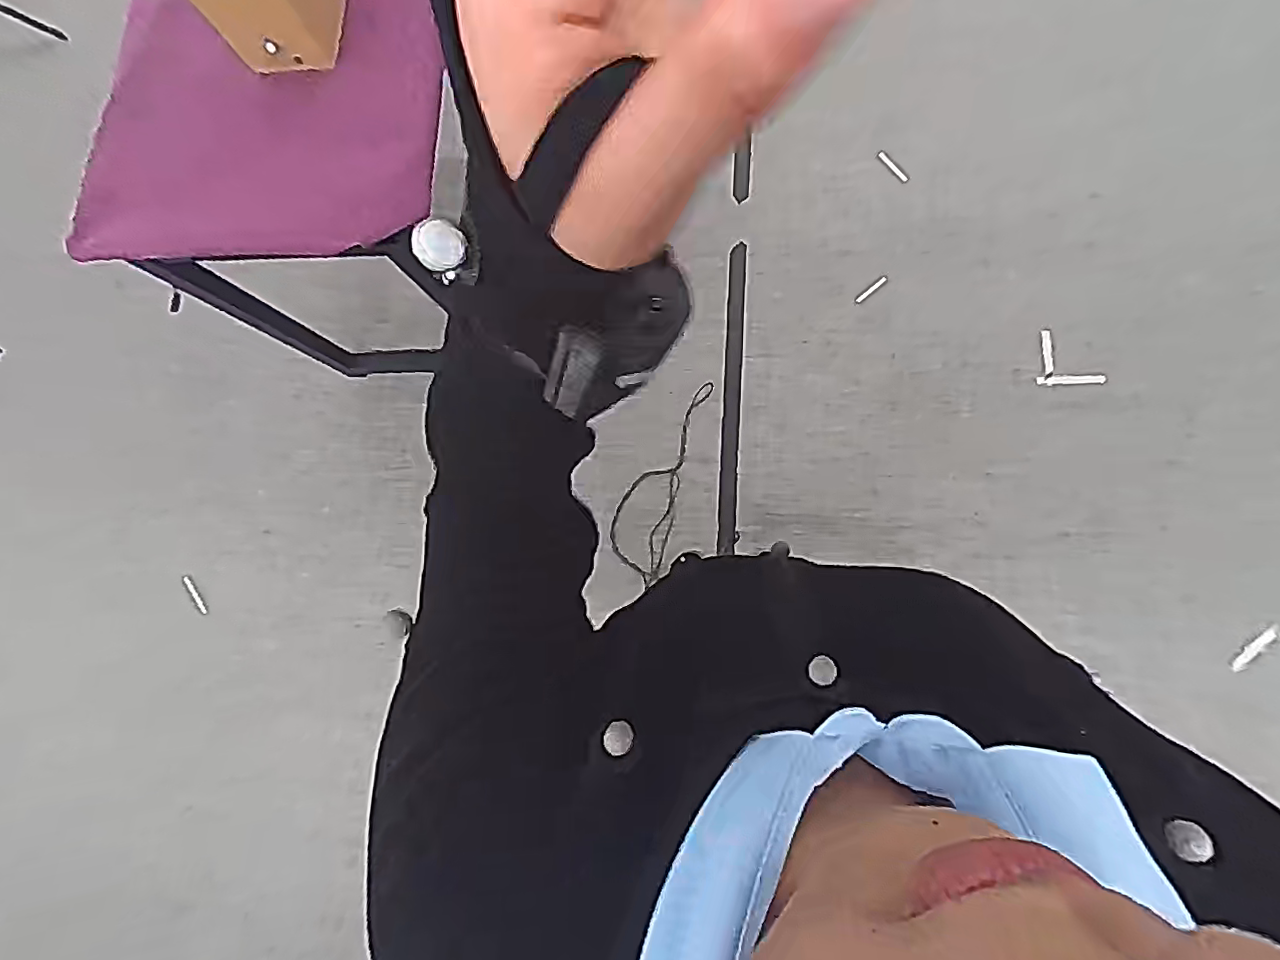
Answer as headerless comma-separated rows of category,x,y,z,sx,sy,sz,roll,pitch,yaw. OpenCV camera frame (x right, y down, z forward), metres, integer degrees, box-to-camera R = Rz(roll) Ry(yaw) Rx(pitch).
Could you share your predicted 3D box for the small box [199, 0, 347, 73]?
small box,-0.636,-0.849,0.929,0.168,0.176,0.179,2,82,7
